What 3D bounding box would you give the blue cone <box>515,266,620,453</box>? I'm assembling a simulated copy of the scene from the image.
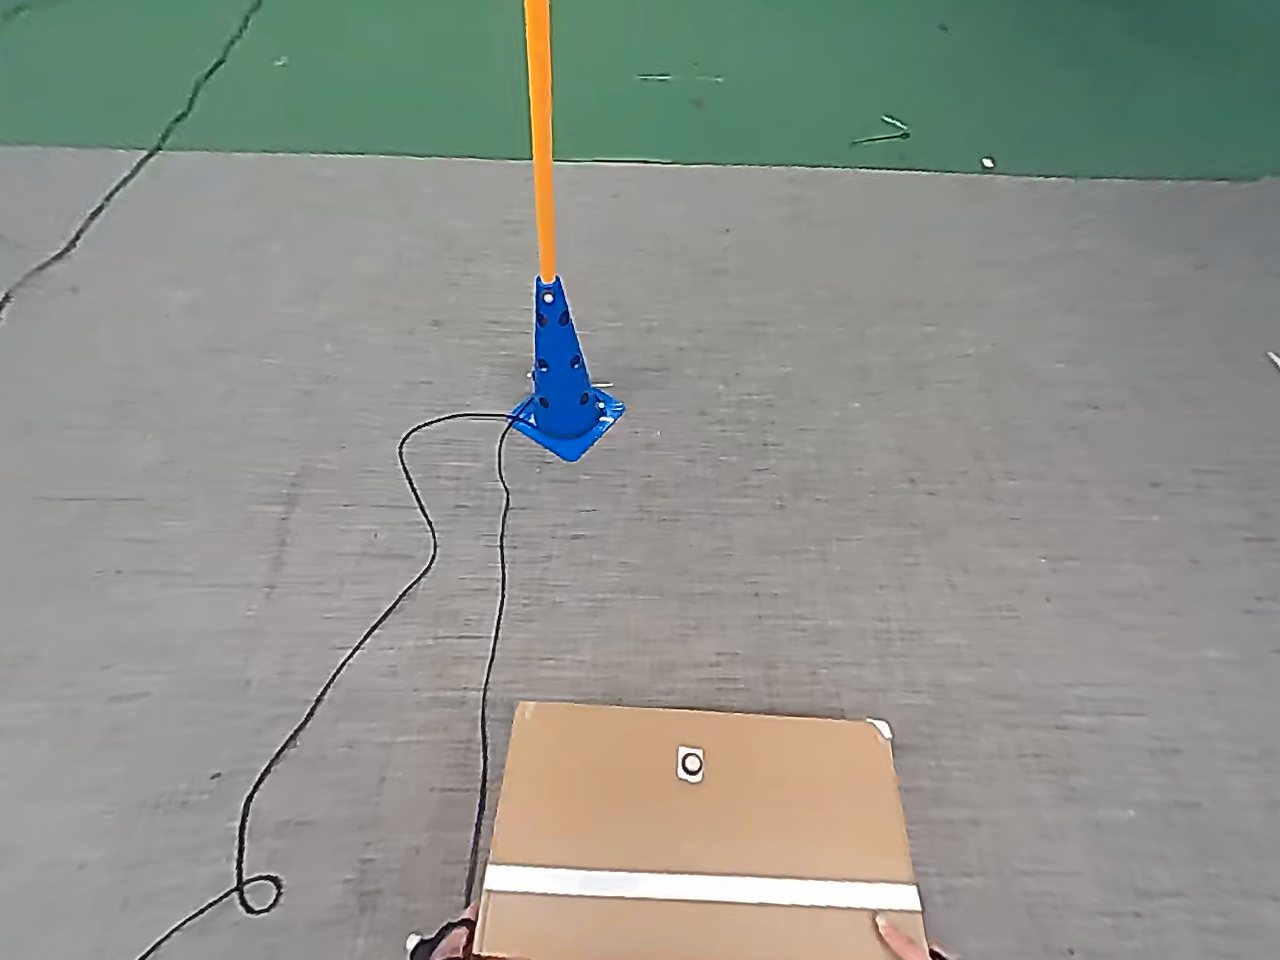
[{"bbox_3d":[-0.153,-0.247,1.057,0.192,0.380,0.193,30,60,16],"label":"blue cone"}]
